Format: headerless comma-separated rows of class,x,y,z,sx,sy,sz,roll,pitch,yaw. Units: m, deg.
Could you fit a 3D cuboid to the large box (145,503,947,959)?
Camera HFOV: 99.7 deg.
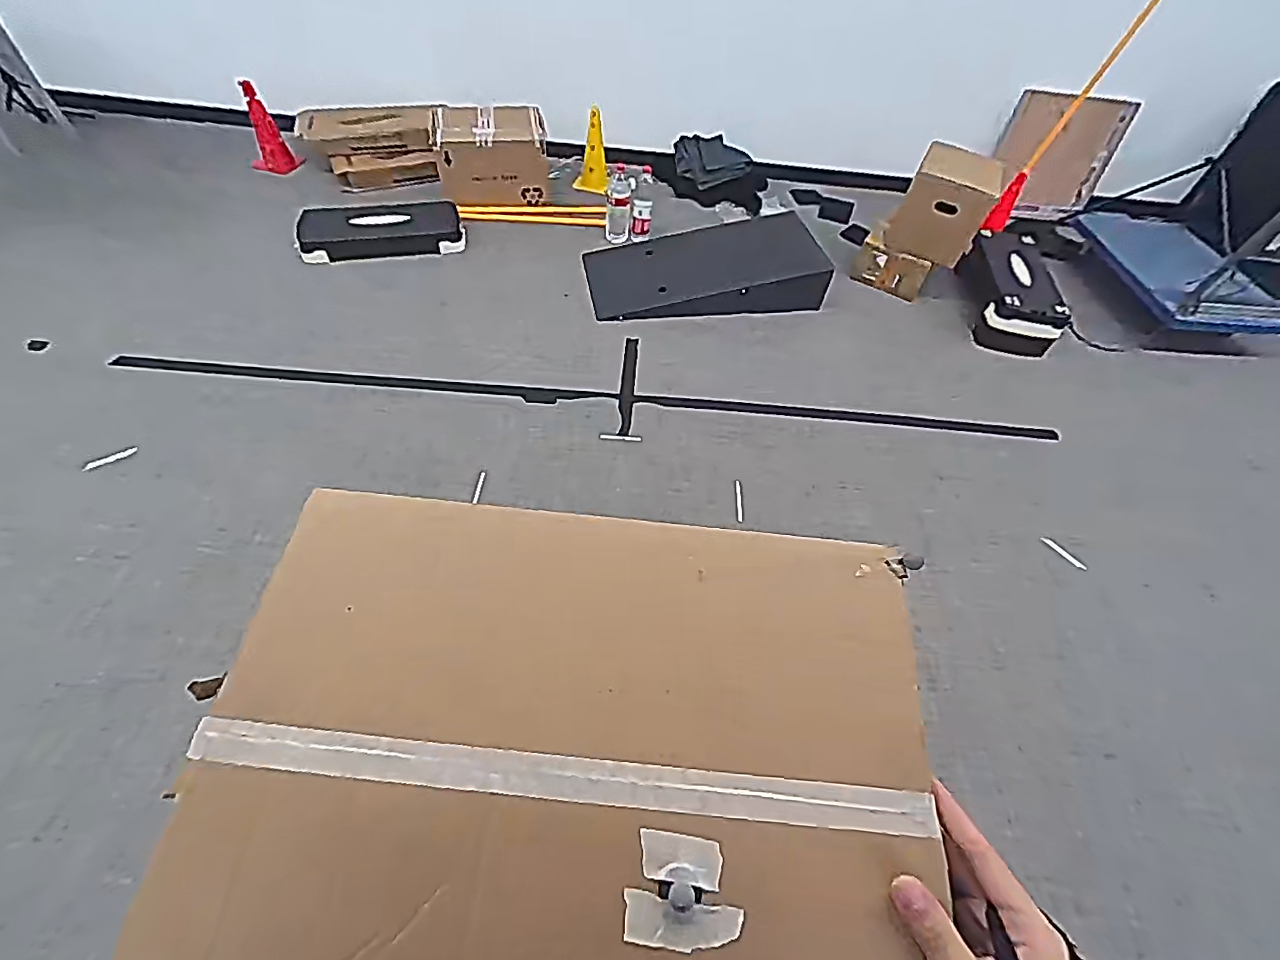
large box,-0.042,0.237,0.439,0.408,0.320,0.320,6,63,0
